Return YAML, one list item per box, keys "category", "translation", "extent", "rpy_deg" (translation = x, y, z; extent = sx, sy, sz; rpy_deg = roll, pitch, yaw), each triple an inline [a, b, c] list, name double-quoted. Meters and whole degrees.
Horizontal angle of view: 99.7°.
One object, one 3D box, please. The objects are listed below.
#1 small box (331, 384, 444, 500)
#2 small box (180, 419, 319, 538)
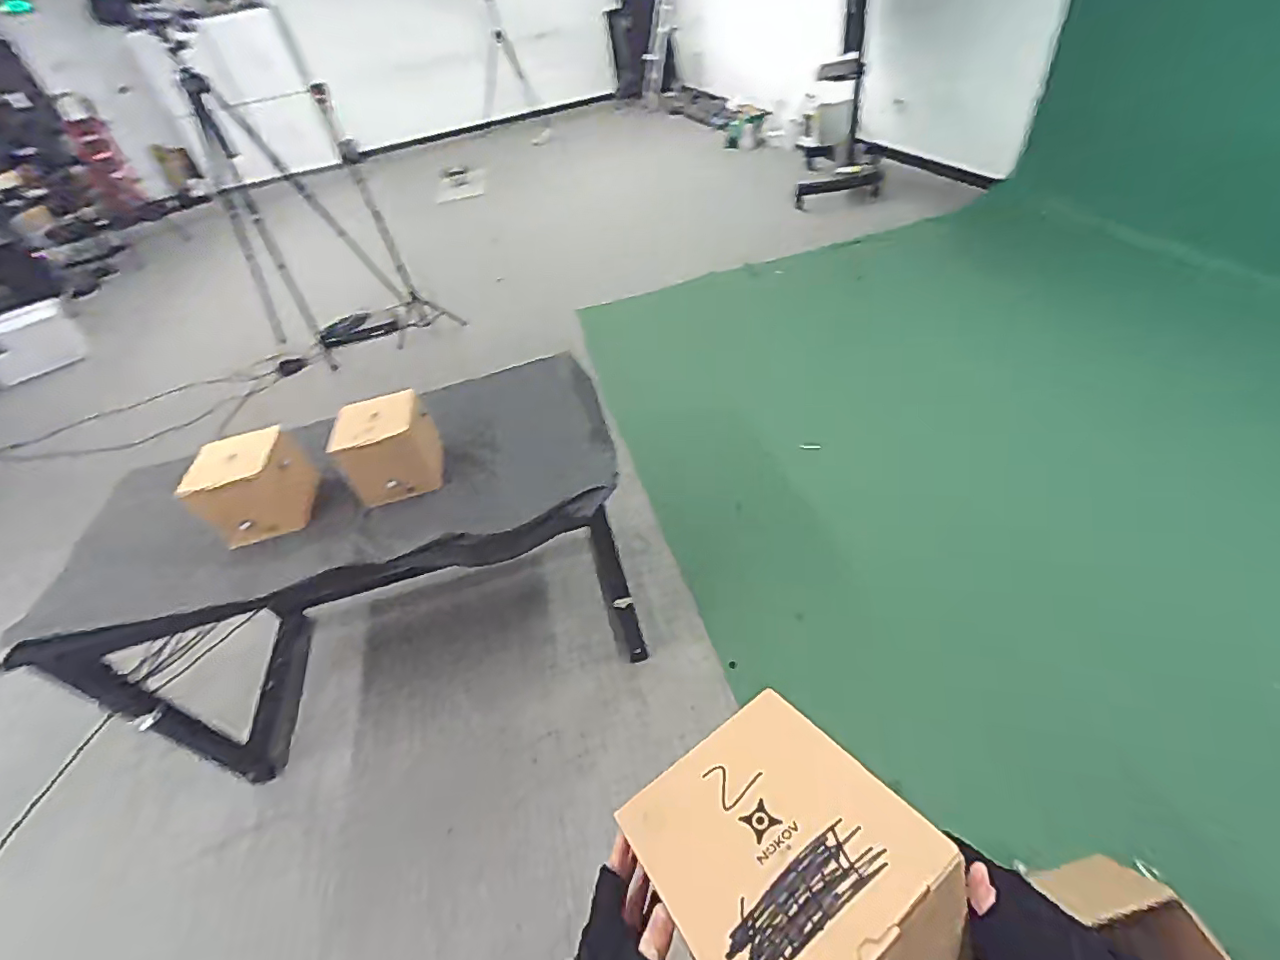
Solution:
- category: "small box"
  translation: [-0.552, -0.084, 1.209]
  extent: [0.168, 0.176, 0.179]
  rpy_deg: [-15, 43, -4]
- category: "small box"
  translation: [-0.837, -0.002, 1.184]
  extent: [0.168, 0.176, 0.179]
  rpy_deg: [-15, 43, -5]
